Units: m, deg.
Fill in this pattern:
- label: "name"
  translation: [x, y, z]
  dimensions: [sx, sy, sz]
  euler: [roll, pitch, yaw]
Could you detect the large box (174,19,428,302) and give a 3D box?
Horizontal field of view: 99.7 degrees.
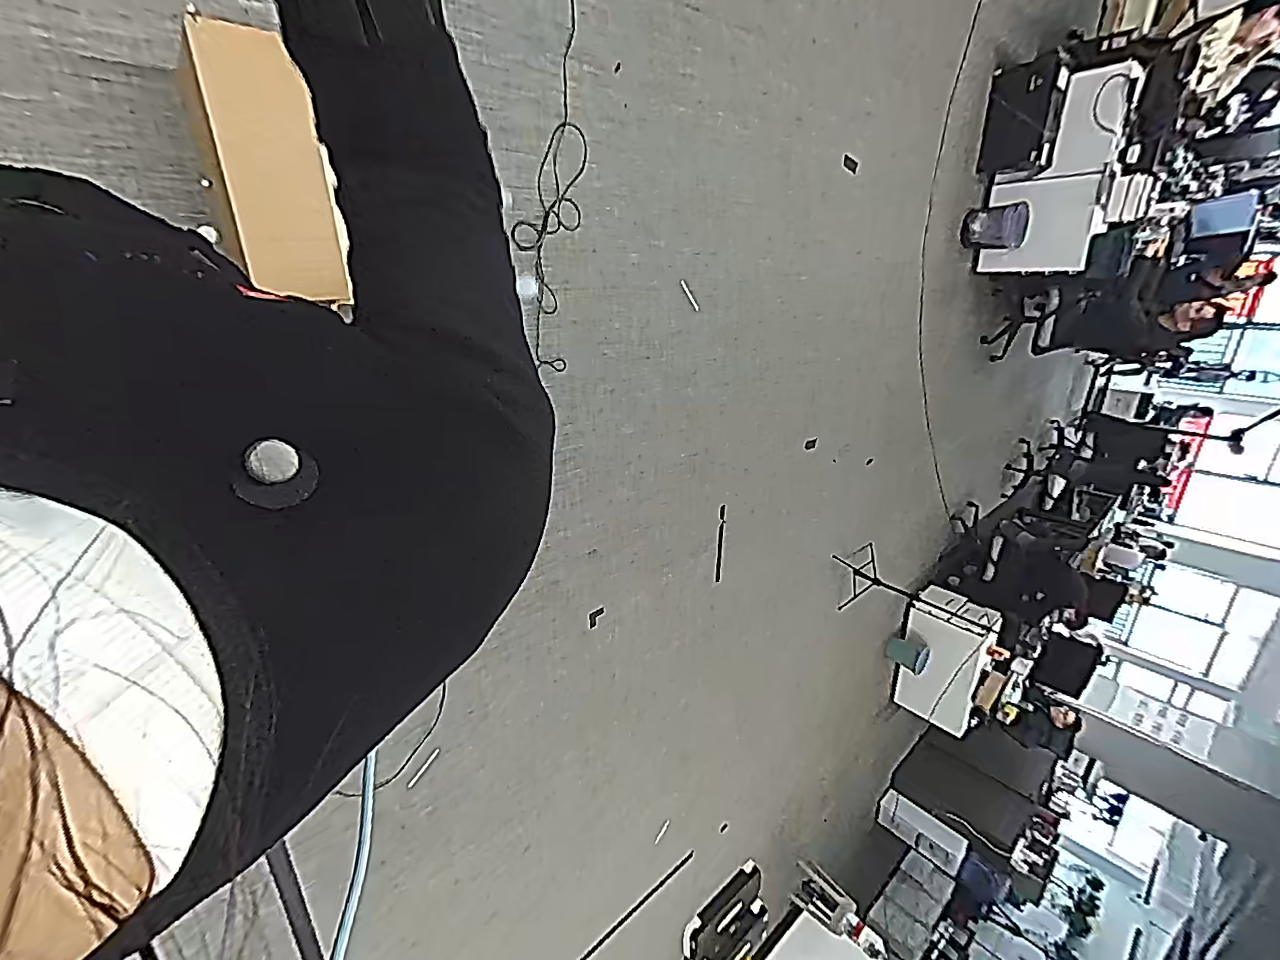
- label: "large box"
  translation: [-0.658, -0.574, 1.066]
  dimensions: [0.320, 0.320, 0.408]
  euler: [-19, 117, -38]
